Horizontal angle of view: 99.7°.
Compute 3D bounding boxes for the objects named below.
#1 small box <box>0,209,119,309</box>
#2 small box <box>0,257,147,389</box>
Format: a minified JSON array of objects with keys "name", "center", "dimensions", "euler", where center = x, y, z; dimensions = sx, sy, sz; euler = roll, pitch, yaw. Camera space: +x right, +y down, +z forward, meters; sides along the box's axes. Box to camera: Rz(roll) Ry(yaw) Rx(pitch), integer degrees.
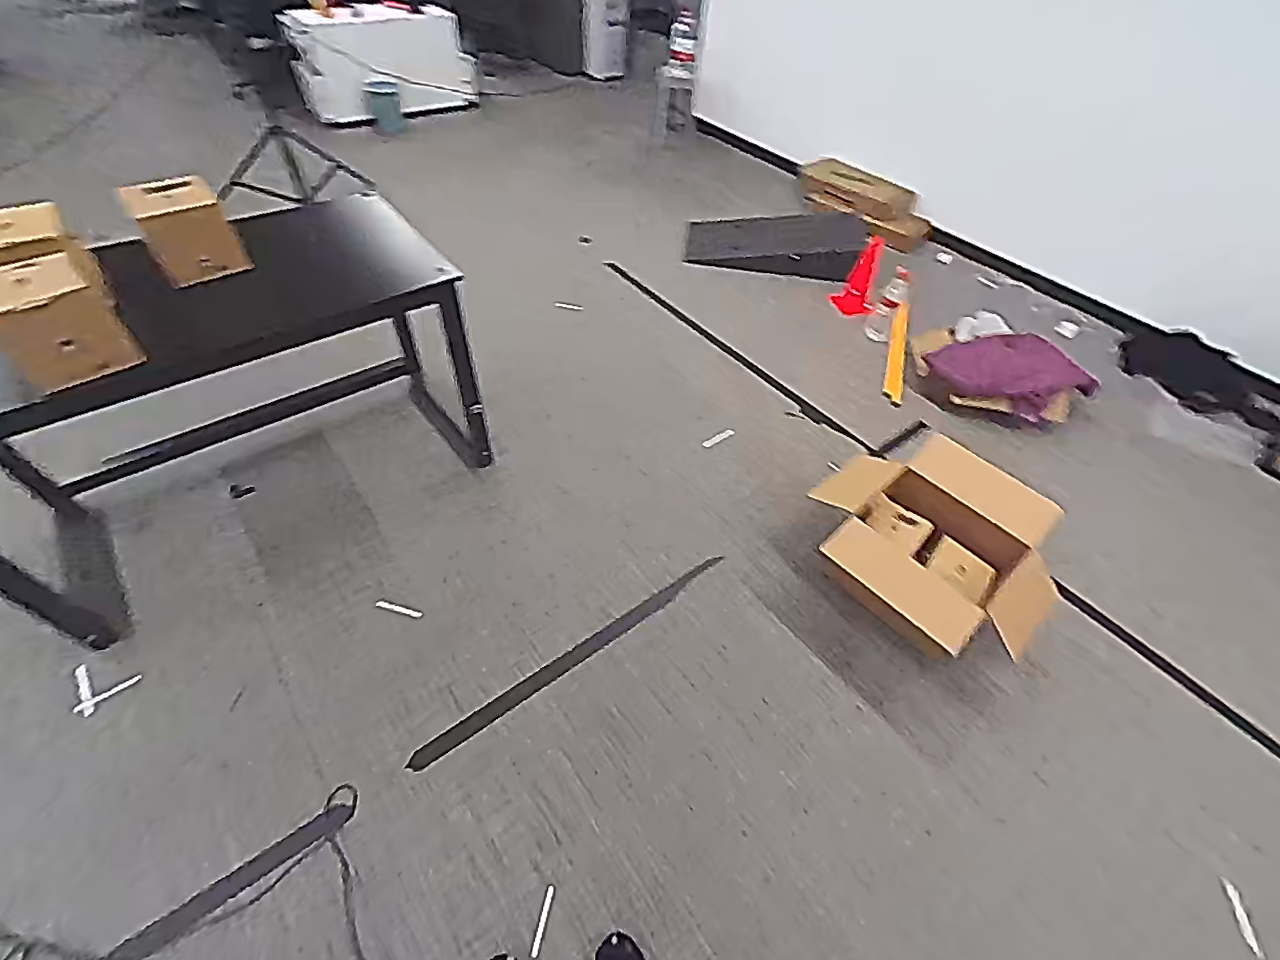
[{"name":"small box","center":[-1.300,-0.464,1.185],"dimensions":[0.168,0.176,0.179],"euler":[-28,57,-26]},{"name":"small box","center":[-1.125,-0.301,1.057],"dimensions":[0.168,0.176,0.179],"euler":[-35,60,-30]}]
